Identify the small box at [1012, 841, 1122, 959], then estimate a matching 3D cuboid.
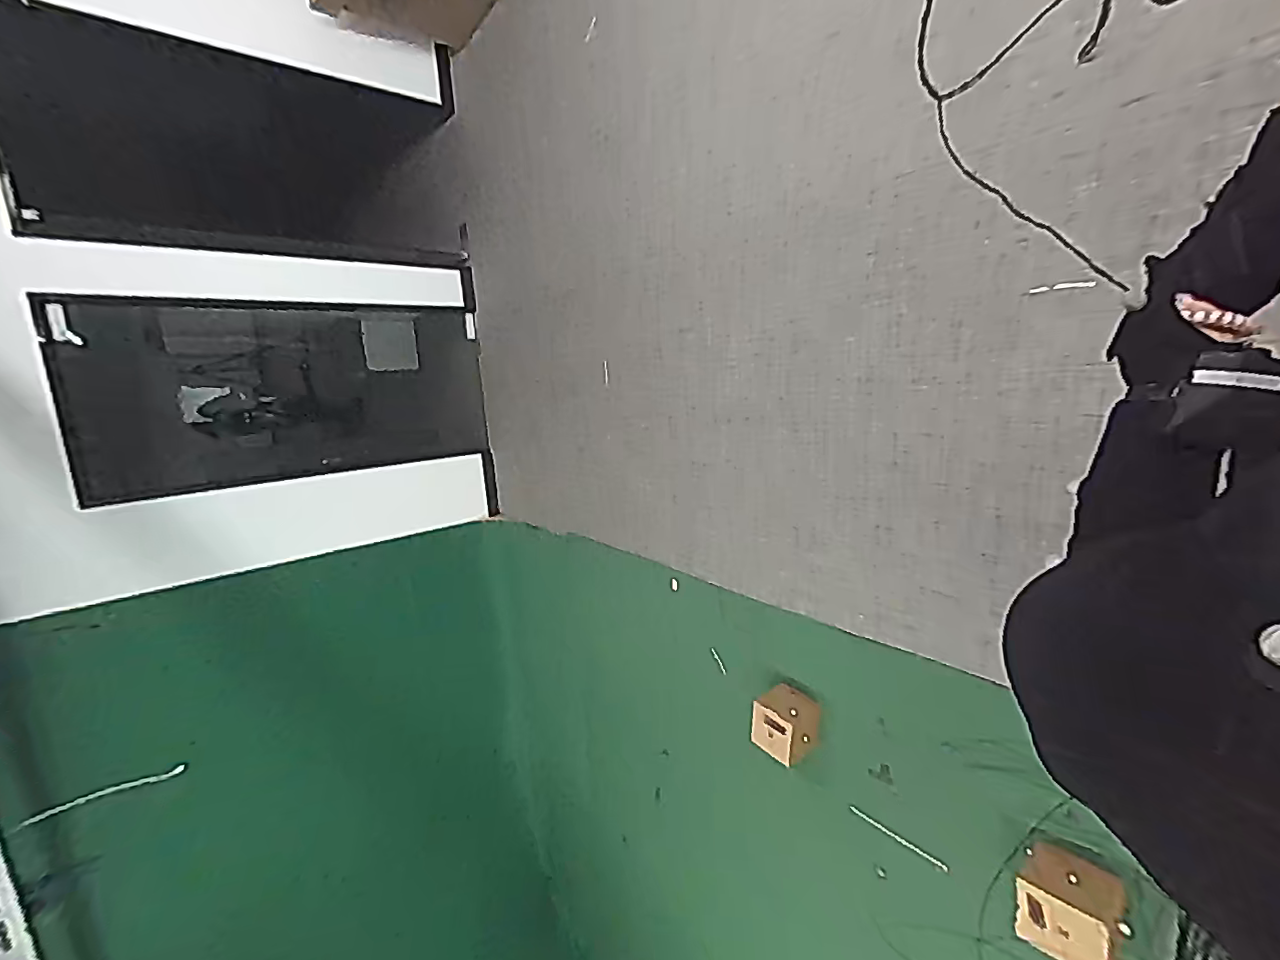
[{"bbox_3d":[1.035,1.026,1.313,0.179,0.176,0.168,6,104,50],"label":"small box"}]
